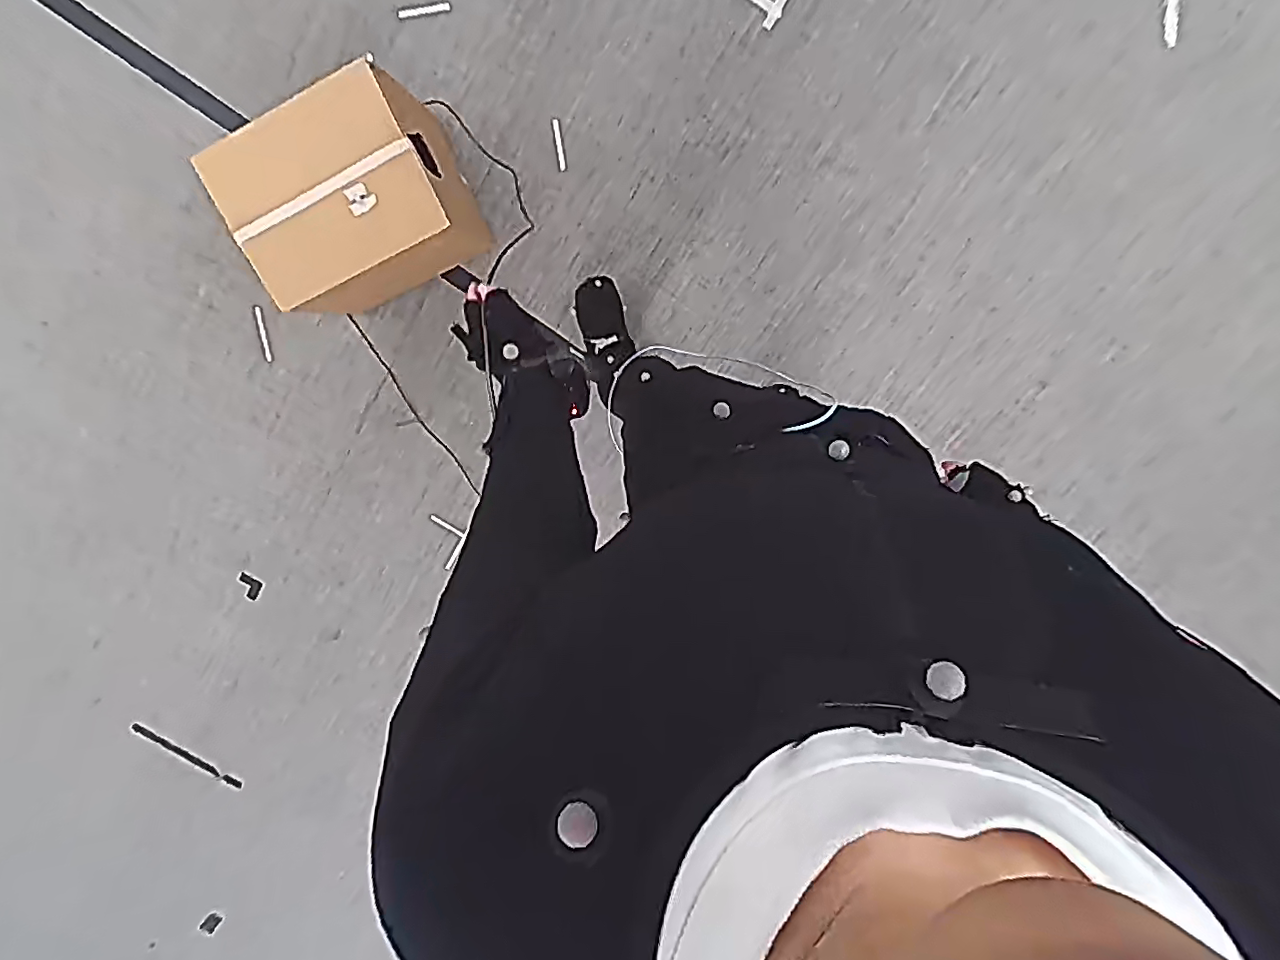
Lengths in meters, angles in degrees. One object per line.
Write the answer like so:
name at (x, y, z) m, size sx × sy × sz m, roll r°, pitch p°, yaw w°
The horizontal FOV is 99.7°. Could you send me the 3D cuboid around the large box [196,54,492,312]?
large box at (-0.605, -0.598, 1.179) m, size 0.408 × 0.320 × 0.320 m, roll -23°, pitch 105°, yaw 7°
